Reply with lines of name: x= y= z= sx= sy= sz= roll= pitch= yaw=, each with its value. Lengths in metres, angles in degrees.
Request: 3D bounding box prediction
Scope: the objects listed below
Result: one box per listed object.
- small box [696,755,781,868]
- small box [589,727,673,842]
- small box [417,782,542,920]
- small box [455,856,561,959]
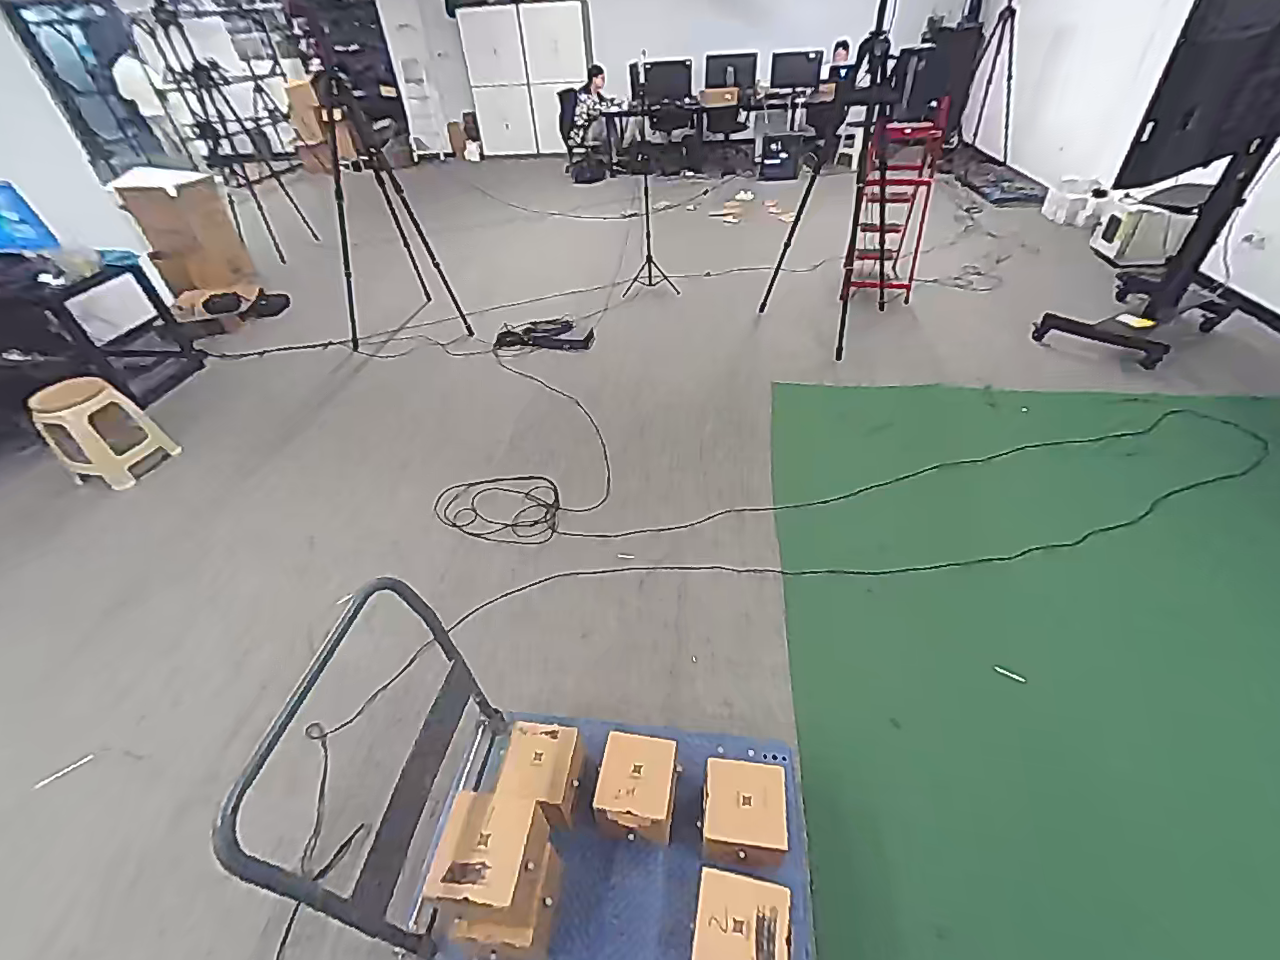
small box: x=0.222 y=0.756 z=1.230 sx=0.179 sy=0.176 sz=0.168 roll=4 pitch=42 yaw=9
small box: x=-0.015 y=0.723 z=1.287 sx=0.168 sy=0.176 sz=0.179 roll=5 pitch=42 yaw=11
small box: x=-0.299 y=0.725 z=1.055 sx=0.168 sy=0.176 sz=0.179 roll=4 pitch=40 yaw=7
small box: x=-0.293 y=0.871 z=1.150 sx=0.179 sy=0.176 sz=0.168 roll=25 pitch=50 yaw=30
